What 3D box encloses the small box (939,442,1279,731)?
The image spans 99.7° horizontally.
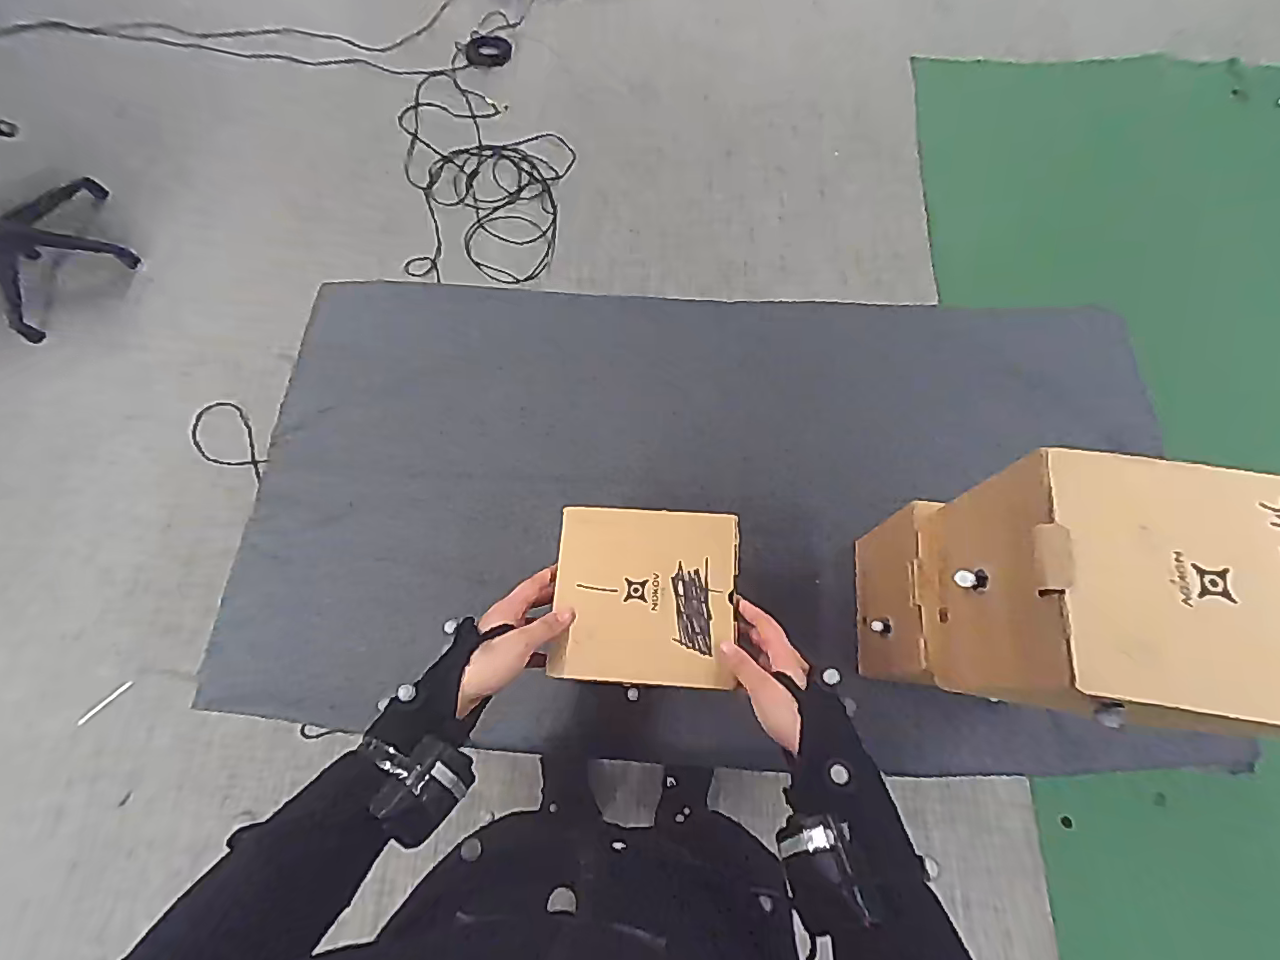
[{"bbox_3d":[0.351,0.089,0.413,0.179,0.176,0.168,9,70,5],"label":"small box"}]

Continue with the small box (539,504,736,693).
[{"bbox_3d":[0.005,0.133,0.580,0.179,0.176,0.168,3,69,4],"label":"small box"}]

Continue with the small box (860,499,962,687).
[{"bbox_3d":[0.344,0.130,0.572,0.179,0.176,0.168,6,70,3],"label":"small box"}]
